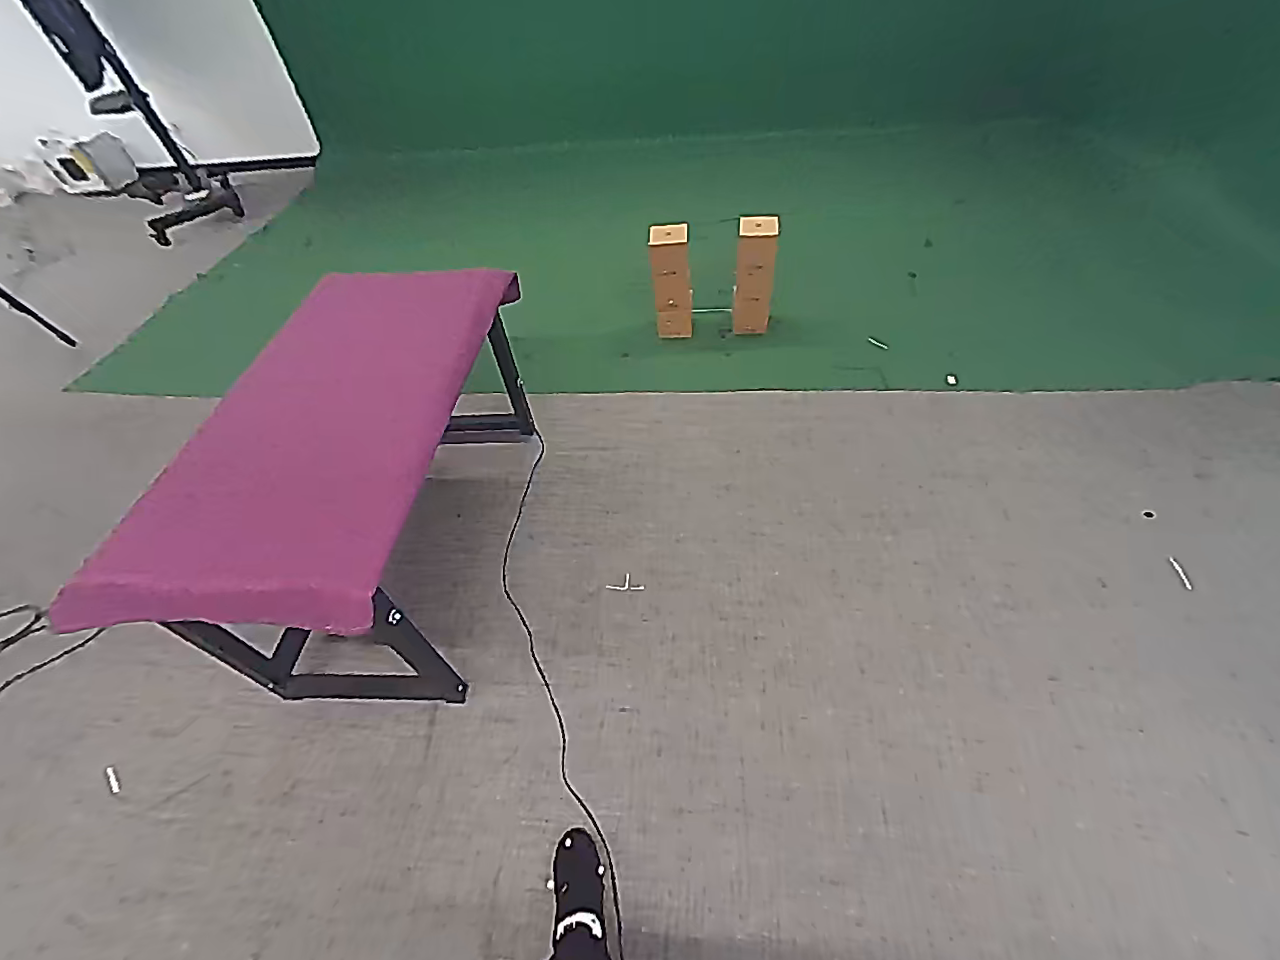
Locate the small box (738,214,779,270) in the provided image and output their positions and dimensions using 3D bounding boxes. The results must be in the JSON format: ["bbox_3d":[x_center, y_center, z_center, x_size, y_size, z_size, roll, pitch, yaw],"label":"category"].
[{"bbox_3d":[0.528,-1.061,2.409,0.168,0.176,0.179,4,51,9],"label":"small box"}]

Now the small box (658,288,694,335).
[{"bbox_3d":[0.182,-0.834,2.689,0.168,0.176,0.179,1,49,8],"label":"small box"}]

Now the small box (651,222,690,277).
[{"bbox_3d":[0.138,-1.038,2.437,0.168,0.176,0.179,-2,49,6],"label":"small box"}]

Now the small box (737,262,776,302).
[{"bbox_3d":[0.543,-0.959,2.538,0.168,0.176,0.179,4,50,9],"label":"small box"}]

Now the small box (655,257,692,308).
[{"bbox_3d":[0.159,-0.935,2.561,0.168,0.176,0.179,-1,50,6],"label":"small box"}]
